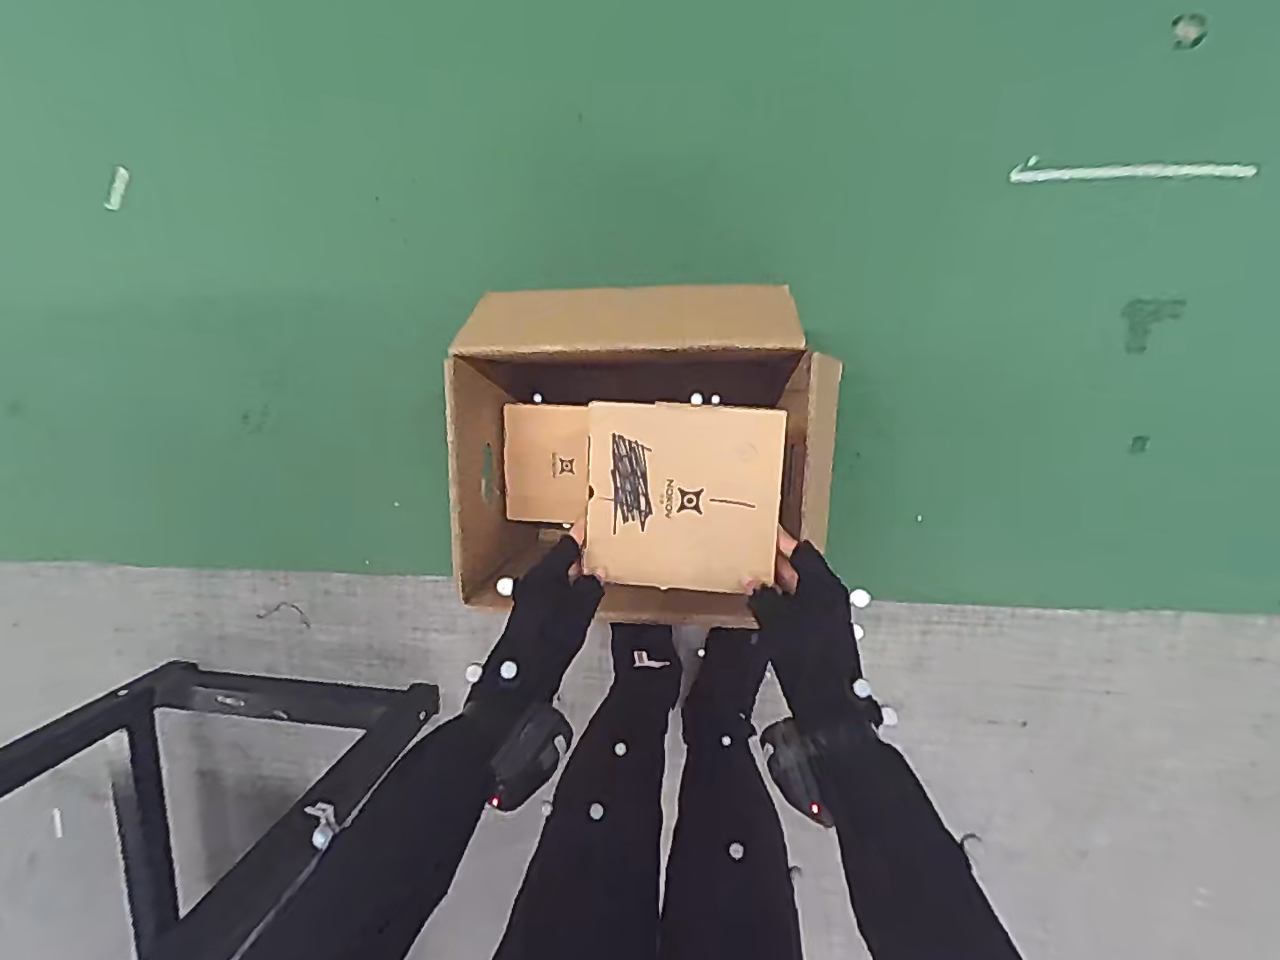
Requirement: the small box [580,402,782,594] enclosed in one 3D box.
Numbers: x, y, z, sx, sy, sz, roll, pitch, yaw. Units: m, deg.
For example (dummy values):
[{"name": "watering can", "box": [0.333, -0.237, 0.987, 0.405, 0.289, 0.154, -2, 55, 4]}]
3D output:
[{"name": "small box", "box": [0.043, 0.010, 0.568, 0.179, 0.176, 0.168, 4, 96, 5]}]
